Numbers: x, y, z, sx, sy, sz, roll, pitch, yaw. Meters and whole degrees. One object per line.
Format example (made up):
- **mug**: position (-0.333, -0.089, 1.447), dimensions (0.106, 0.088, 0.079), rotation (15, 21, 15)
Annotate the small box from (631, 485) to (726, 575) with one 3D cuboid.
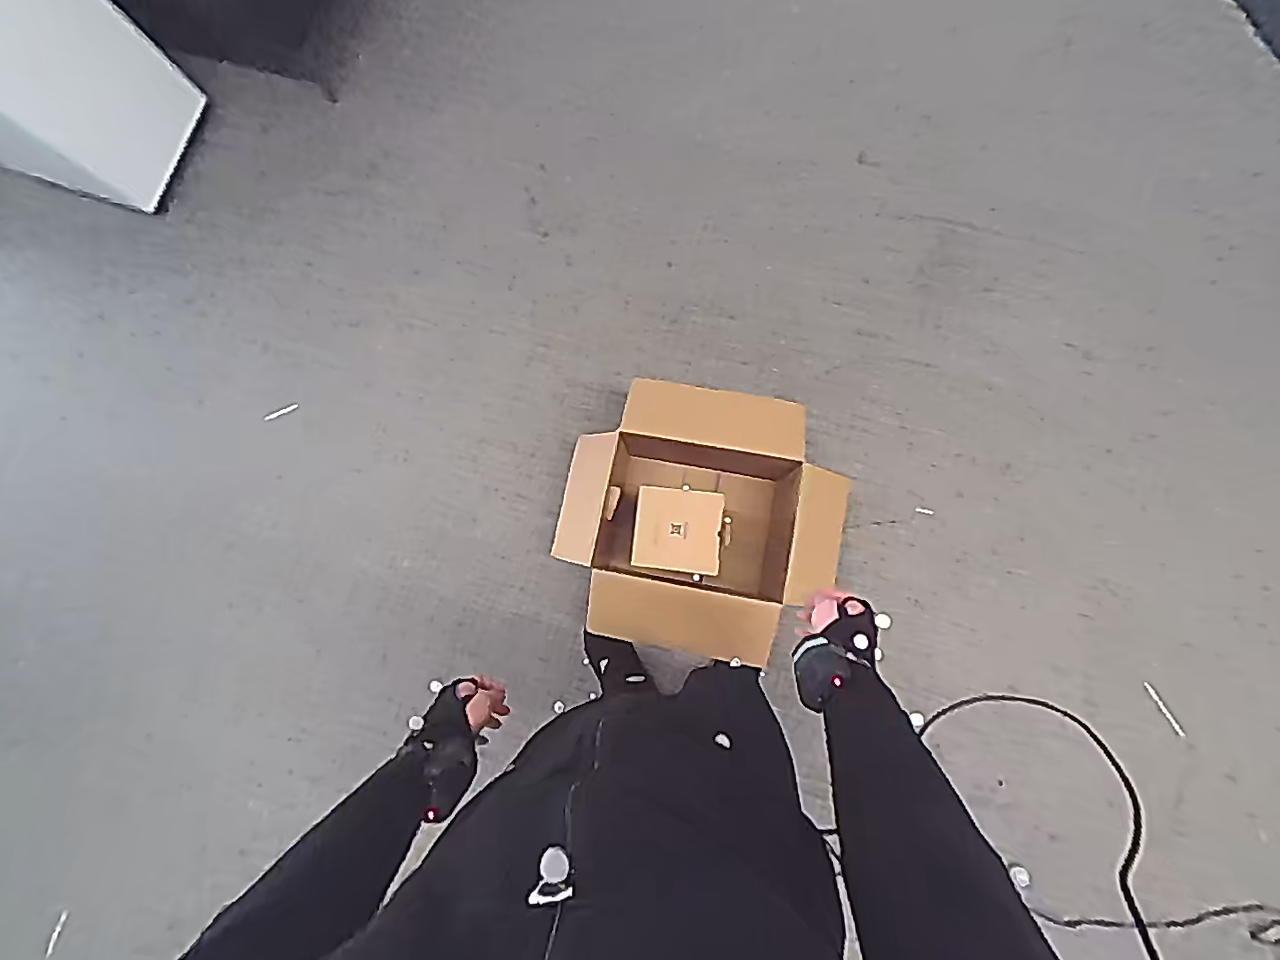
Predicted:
- **small box**: position (0.088, 0.112, 1.161), dimensions (0.179, 0.176, 0.168), rotation (6, 80, 10)
